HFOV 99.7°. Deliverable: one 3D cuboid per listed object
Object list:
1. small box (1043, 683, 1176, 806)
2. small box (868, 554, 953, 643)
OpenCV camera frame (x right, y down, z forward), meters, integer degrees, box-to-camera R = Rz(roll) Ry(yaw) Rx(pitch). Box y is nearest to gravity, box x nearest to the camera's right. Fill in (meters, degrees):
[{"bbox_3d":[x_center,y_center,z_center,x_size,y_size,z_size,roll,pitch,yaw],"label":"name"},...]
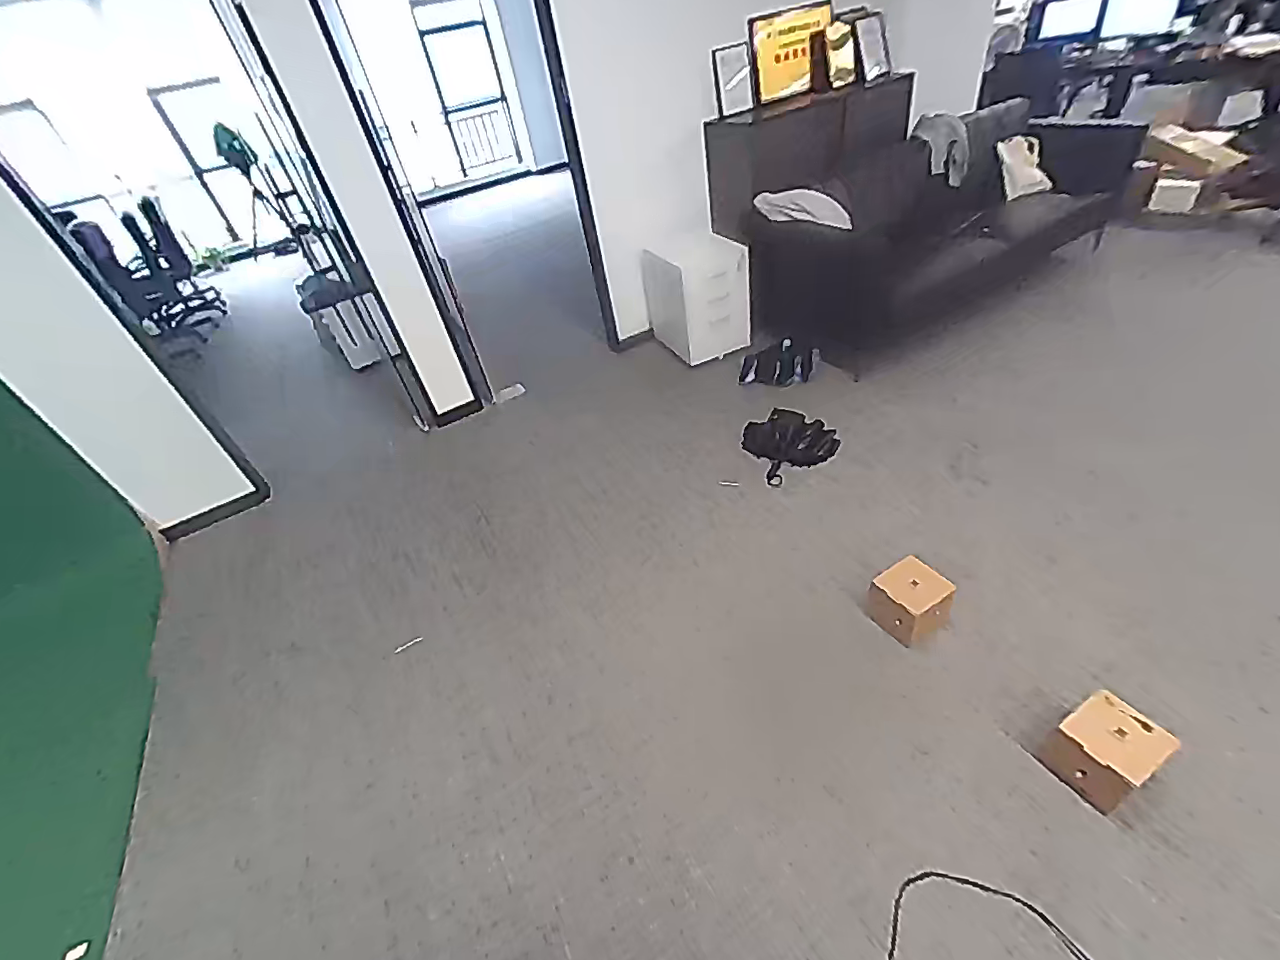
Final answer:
[{"bbox_3d":[1.107,0.634,1.293,0.179,0.176,0.168,-27,40,-17],"label":"small box"},{"bbox_3d":[0.837,0.373,1.691,0.179,0.176,0.168,-26,42,-19],"label":"small box"}]
